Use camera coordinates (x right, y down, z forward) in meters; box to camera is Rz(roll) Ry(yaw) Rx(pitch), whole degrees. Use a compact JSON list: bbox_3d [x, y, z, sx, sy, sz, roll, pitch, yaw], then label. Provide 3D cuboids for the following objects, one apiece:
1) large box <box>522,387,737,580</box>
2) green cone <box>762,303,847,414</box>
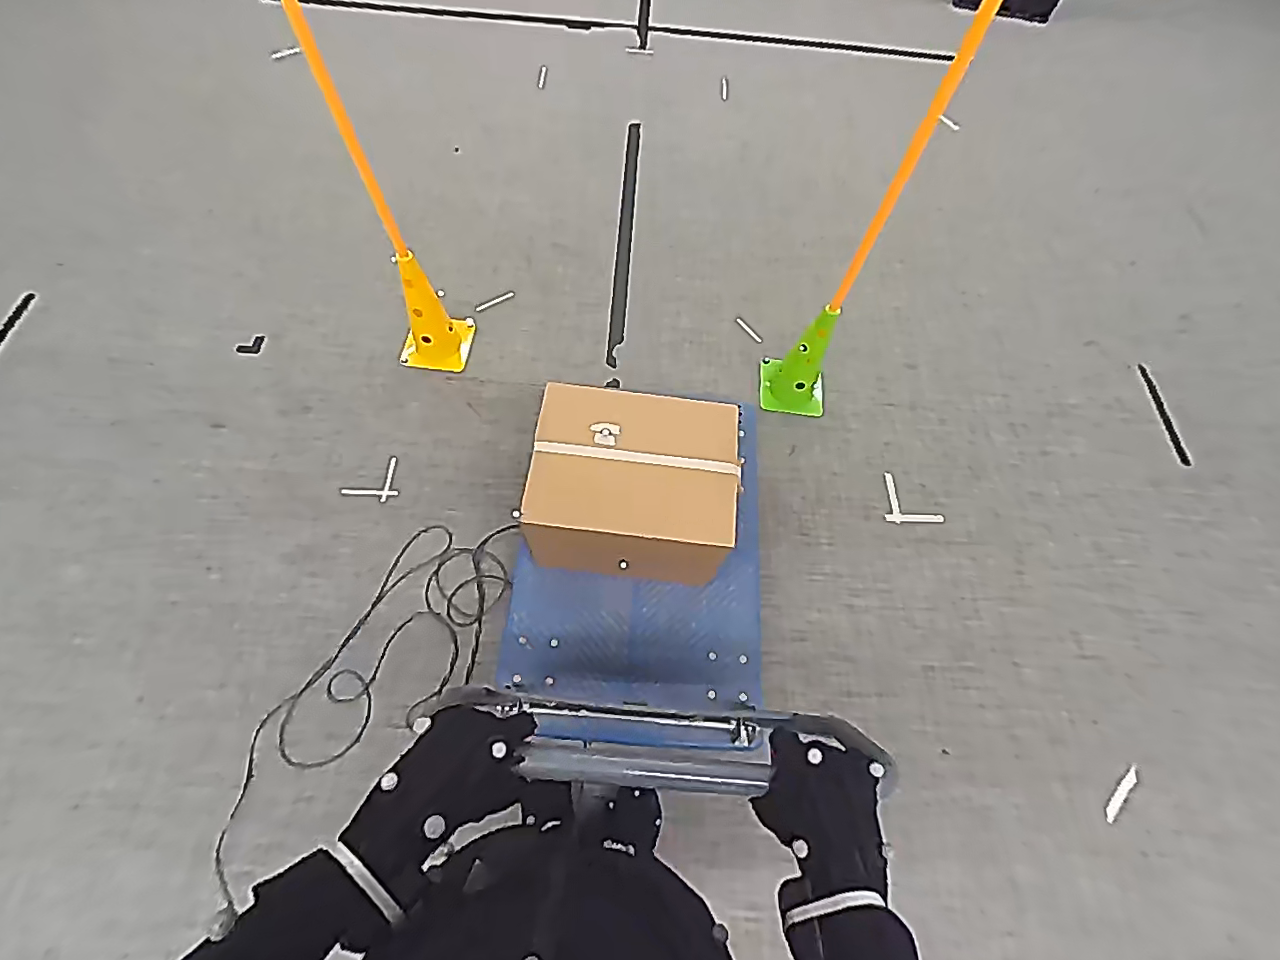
[{"bbox_3d":[-0.014,0.024,1.204,0.408,0.320,0.320,7,65,0],"label":"large box"},{"bbox_3d":[0.507,-0.376,1.586,0.202,0.368,0.200,8,65,-2],"label":"green cone"}]
